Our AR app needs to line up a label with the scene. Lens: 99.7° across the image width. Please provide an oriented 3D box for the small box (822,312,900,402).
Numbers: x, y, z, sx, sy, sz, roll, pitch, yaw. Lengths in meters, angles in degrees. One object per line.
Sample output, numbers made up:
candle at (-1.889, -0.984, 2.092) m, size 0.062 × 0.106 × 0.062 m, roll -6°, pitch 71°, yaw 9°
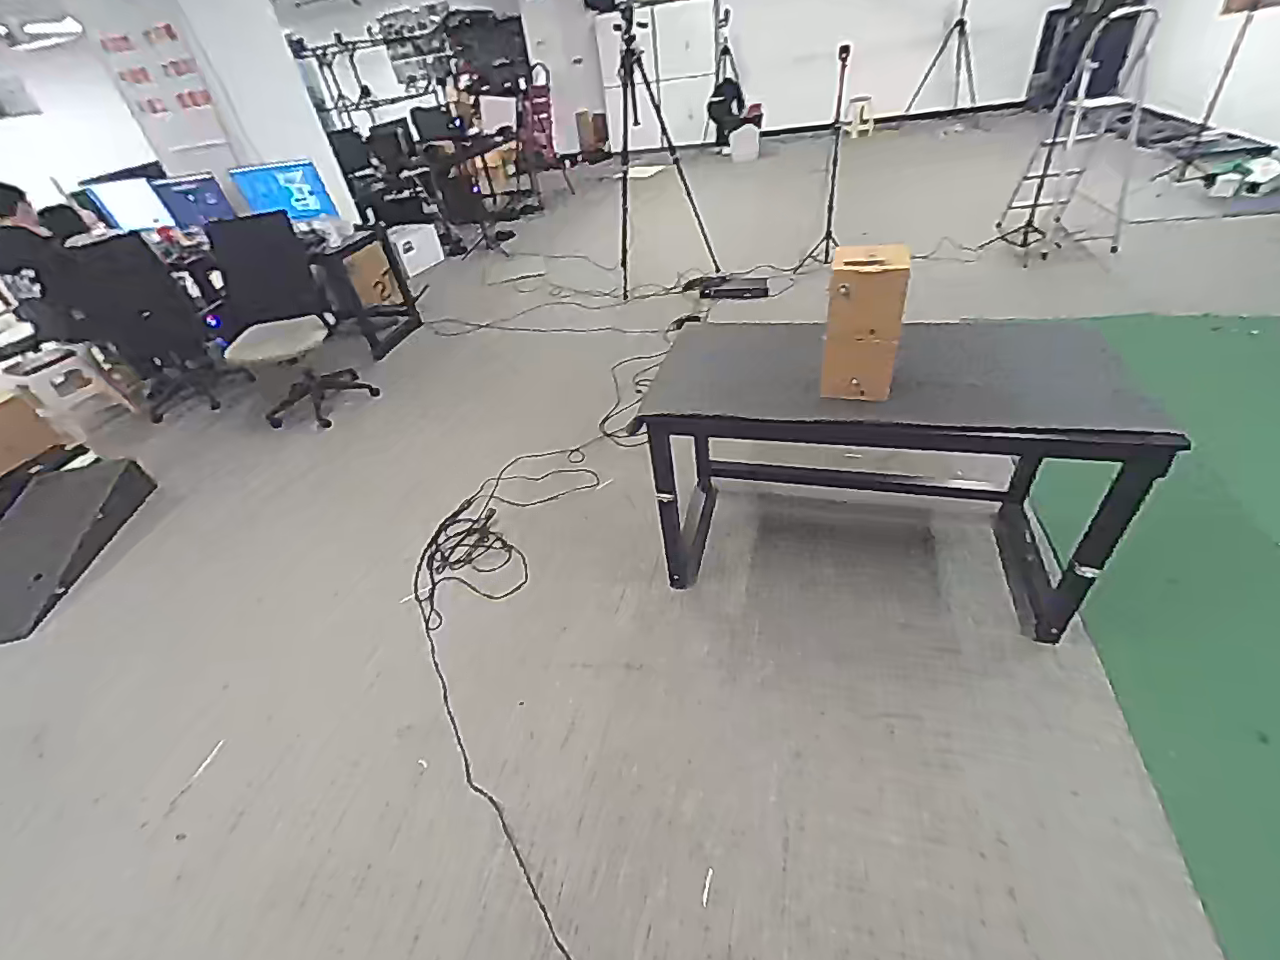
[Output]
small box at (0.573, -0.322, 1.406) m, size 0.168 × 0.176 × 0.179 m, roll 8°, pitch 41°, yaw 21°
